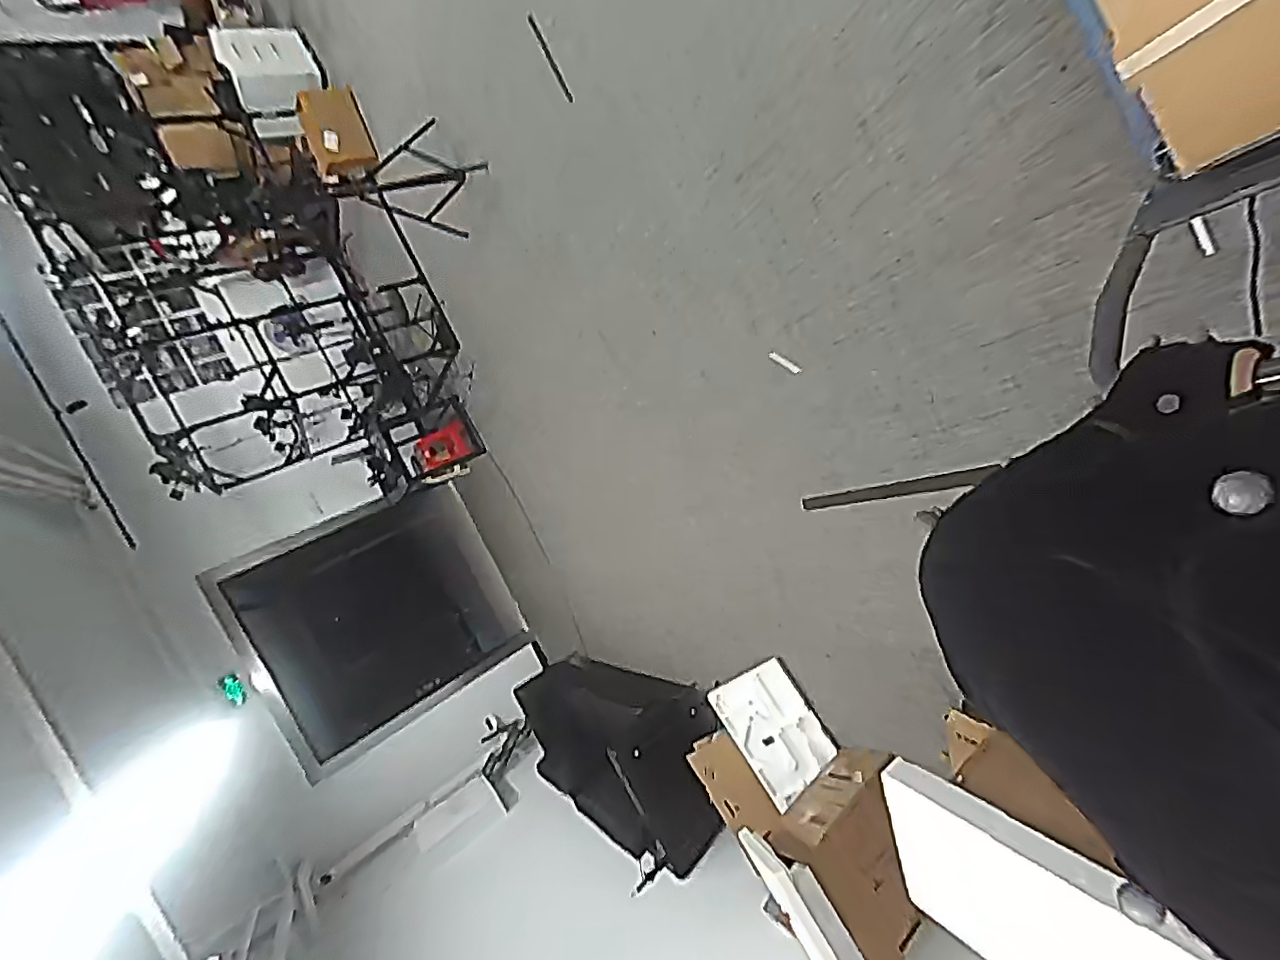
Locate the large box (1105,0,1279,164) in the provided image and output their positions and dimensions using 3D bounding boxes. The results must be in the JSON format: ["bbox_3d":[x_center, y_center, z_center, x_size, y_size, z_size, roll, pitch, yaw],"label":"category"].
[{"bbox_3d":[0.785,-0.635,0.551,0.320,0.320,0.408,50,152,-10],"label":"large box"}]
